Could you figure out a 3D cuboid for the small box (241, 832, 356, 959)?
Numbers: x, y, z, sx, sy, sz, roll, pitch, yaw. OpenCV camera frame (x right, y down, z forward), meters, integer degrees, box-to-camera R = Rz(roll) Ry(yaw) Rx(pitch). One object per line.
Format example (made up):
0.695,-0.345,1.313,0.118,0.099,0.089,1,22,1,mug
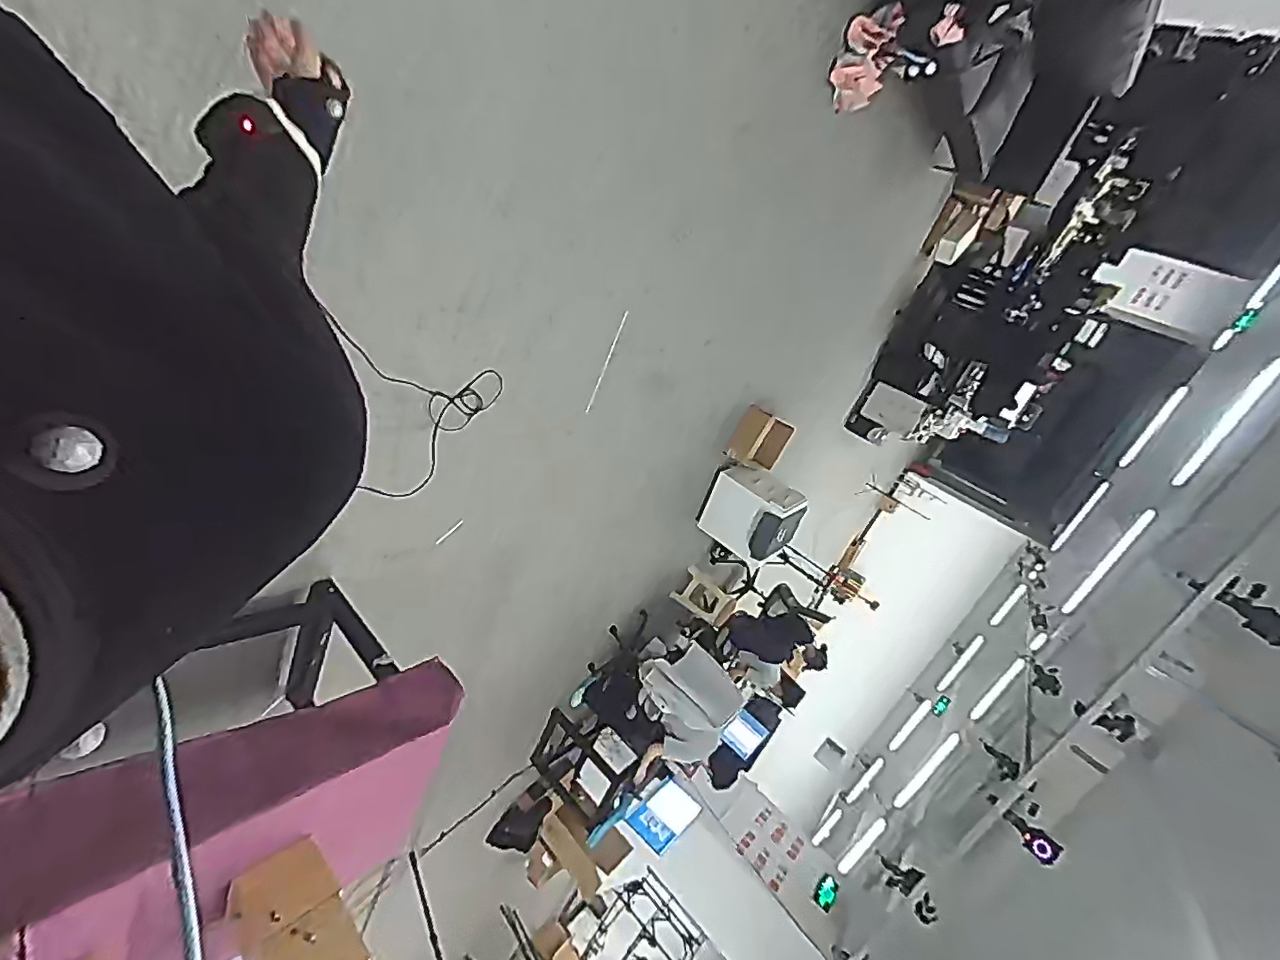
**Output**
-0.824,1.004,1.304,0.179,0.176,0.168,-7,127,-52,small box

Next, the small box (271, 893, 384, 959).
-0.713,1.095,1.221,0.168,0.176,0.179,-8,128,-52,small box
